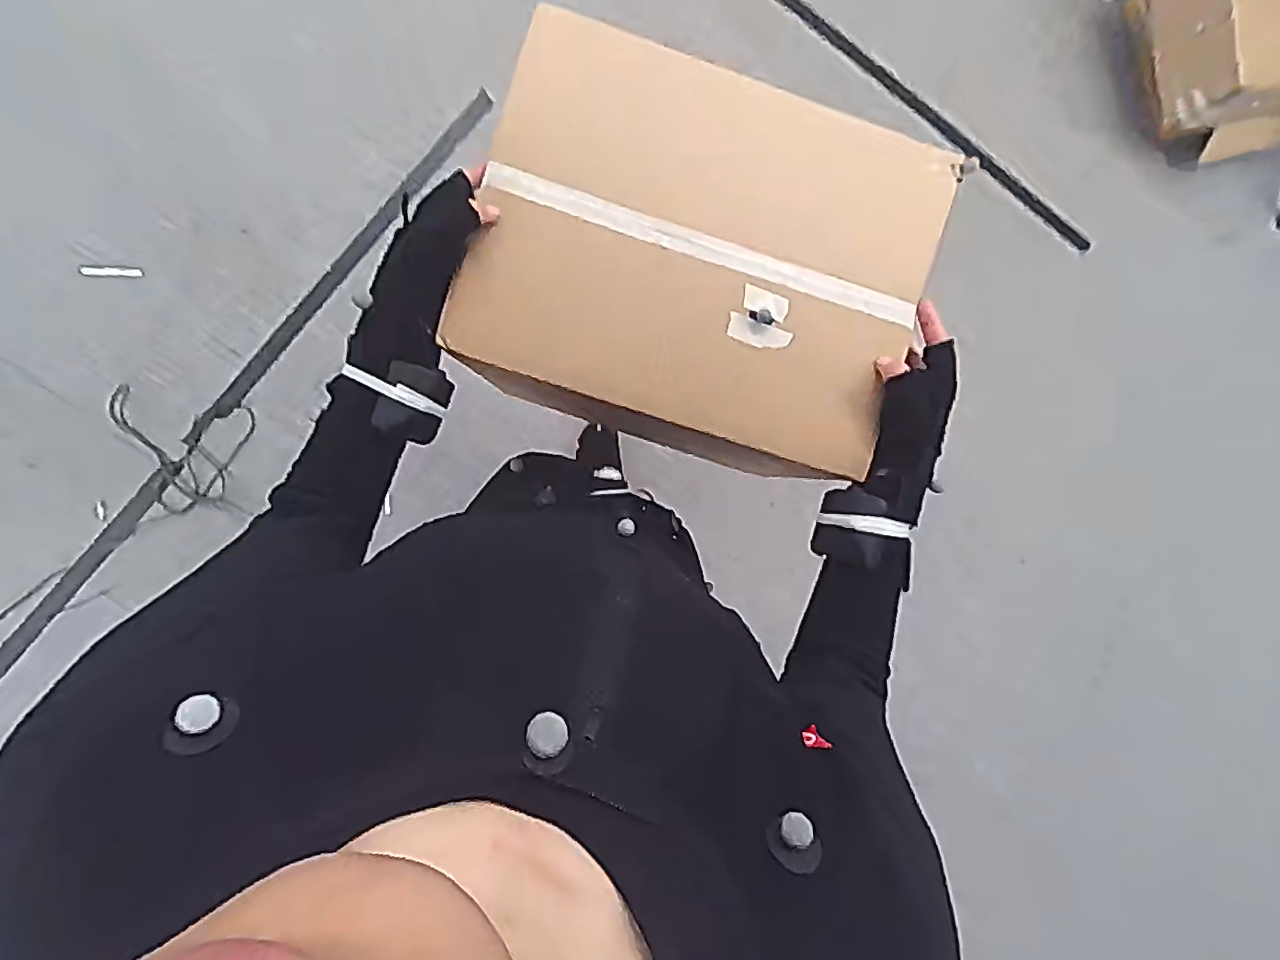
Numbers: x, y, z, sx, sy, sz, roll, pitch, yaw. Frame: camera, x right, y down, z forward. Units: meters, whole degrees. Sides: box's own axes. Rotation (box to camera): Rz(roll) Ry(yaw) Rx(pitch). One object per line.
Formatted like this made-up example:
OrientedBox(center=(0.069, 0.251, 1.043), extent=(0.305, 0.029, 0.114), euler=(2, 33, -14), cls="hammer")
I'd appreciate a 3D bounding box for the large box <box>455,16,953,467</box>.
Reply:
OrientedBox(center=(0.053, -0.217, 0.644), extent=(0.408, 0.320, 0.320), euler=(18, 91, -4), cls="large box")
